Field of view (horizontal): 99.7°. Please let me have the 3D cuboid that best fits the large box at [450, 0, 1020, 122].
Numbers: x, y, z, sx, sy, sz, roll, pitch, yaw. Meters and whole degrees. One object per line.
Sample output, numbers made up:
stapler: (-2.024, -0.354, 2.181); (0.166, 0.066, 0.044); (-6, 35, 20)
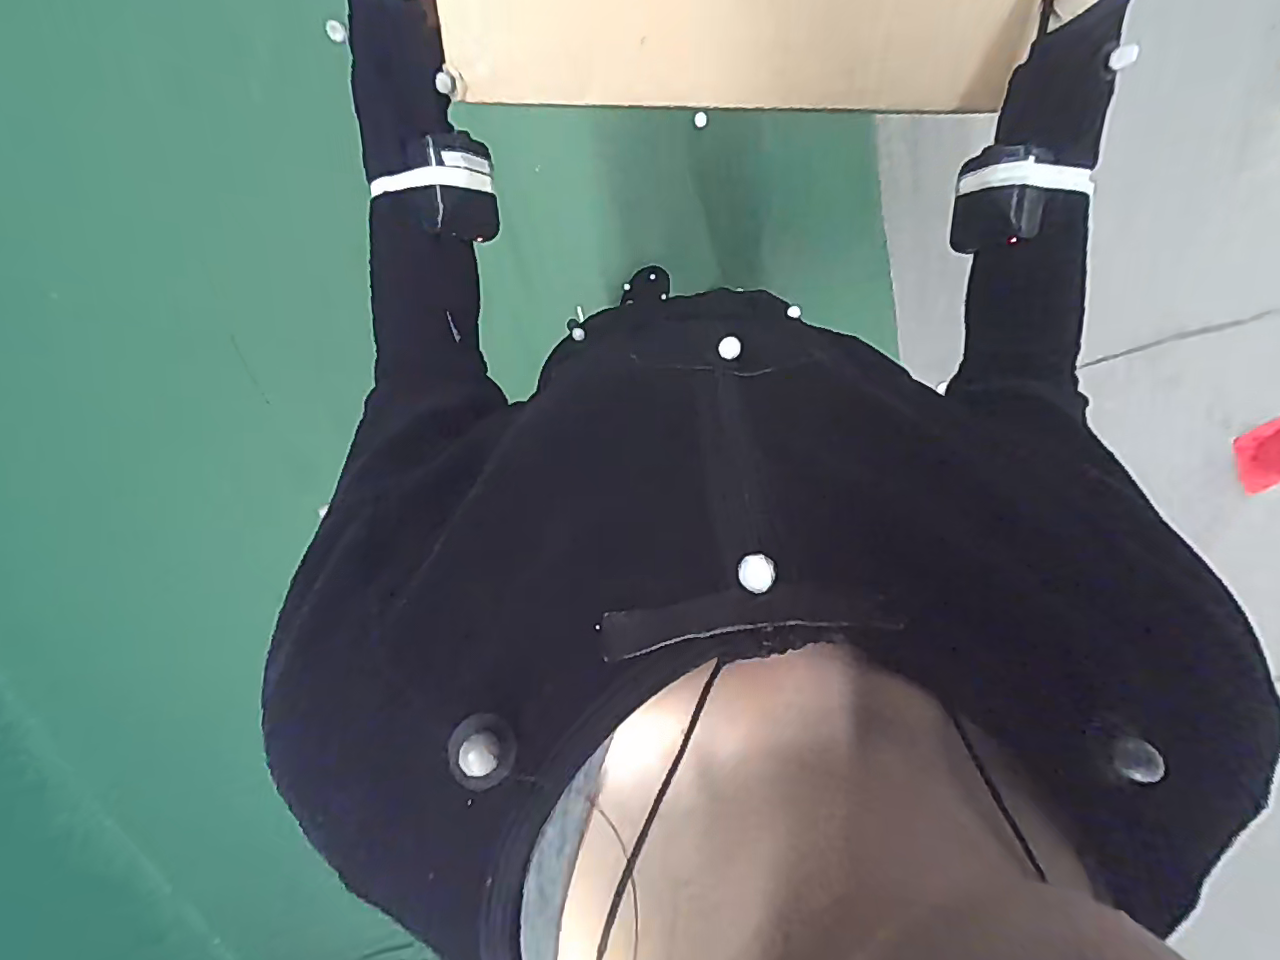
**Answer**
large box: (0.067, -0.490, 0.443); (0.408, 0.320, 0.320); (0, 125, -2)
